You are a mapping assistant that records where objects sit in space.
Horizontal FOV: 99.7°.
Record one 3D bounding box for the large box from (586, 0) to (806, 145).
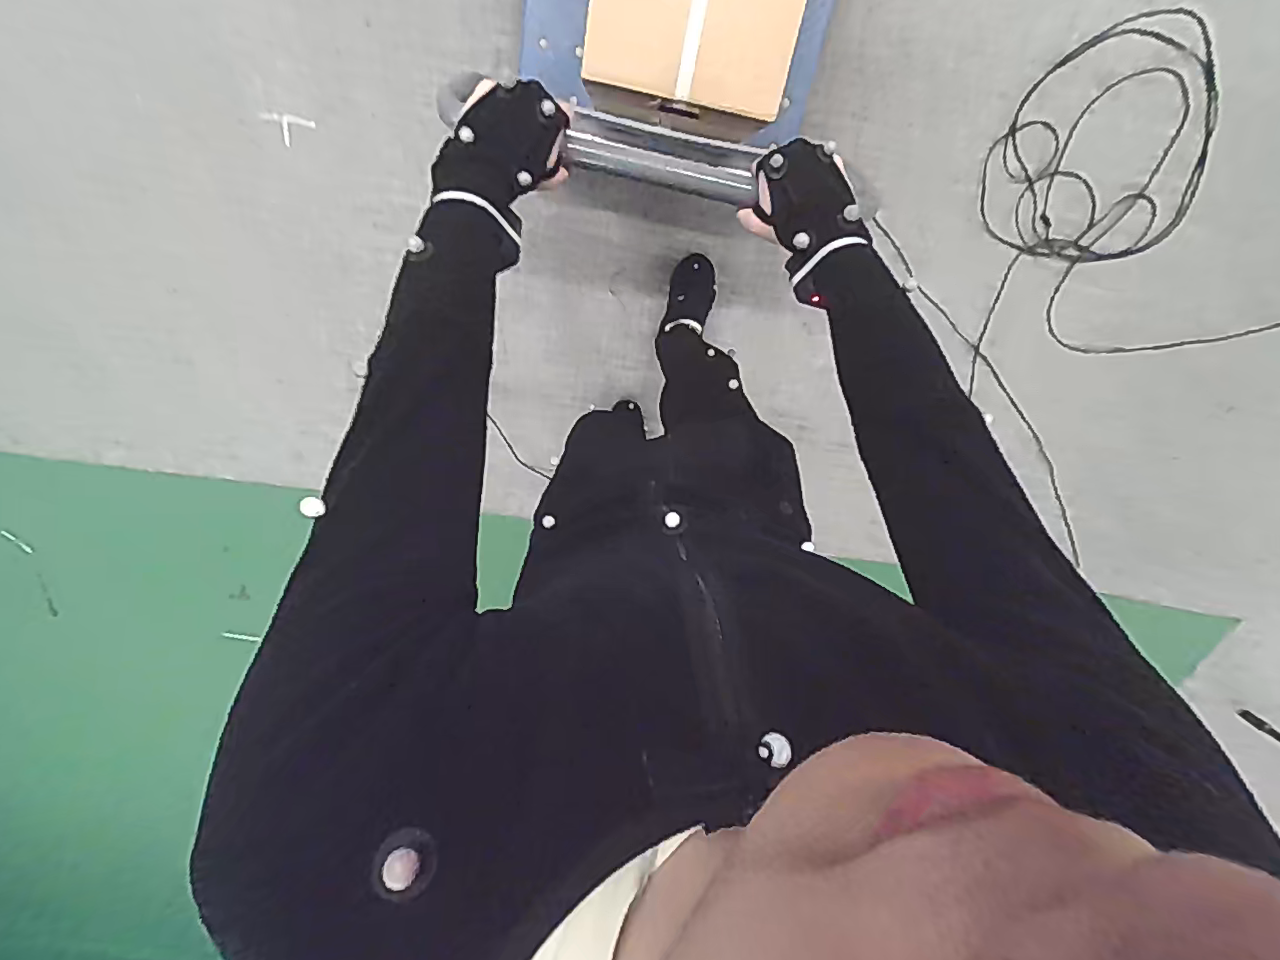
[{"bbox_3d":[0.100,-0.830,0.899,0.320,0.320,0.408,9,115,-5],"label":"large box"}]
